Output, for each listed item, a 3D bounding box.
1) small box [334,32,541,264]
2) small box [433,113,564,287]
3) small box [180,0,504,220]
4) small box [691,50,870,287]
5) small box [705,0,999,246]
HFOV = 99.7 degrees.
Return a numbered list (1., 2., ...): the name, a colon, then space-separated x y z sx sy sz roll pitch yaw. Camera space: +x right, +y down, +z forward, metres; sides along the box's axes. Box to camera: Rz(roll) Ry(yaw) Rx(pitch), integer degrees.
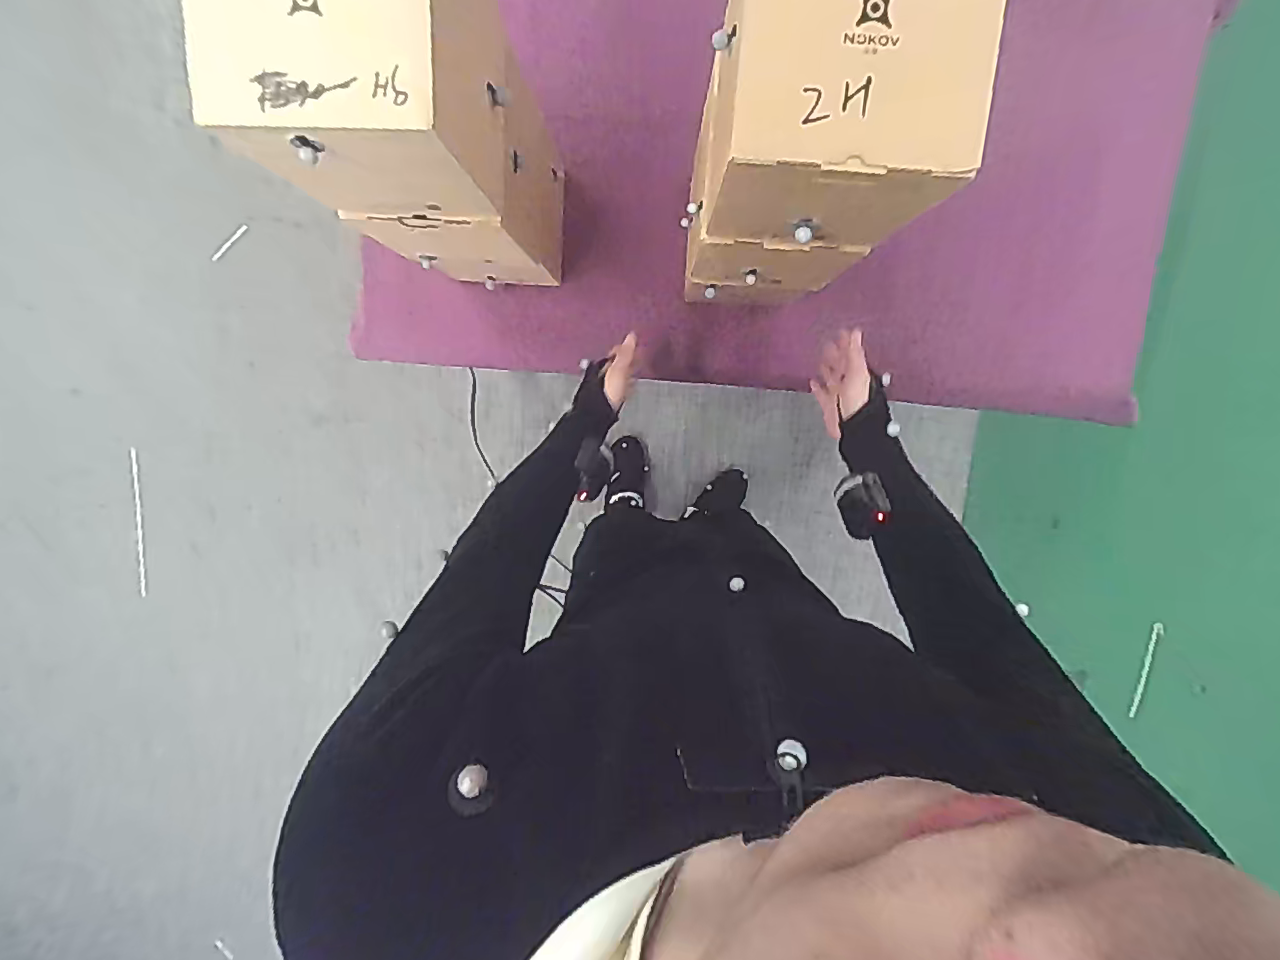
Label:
1. small box: -0.209 -0.348 0.594 0.168 0.176 0.179 3 97 2
2. small box: -0.203 -0.380 0.754 0.168 0.176 0.179 3 99 2
3. small box: -0.214 -0.331 0.430 0.168 0.176 0.179 3 97 3
4. small box: 0.146 -0.322 0.587 0.168 0.176 0.179 4 99 1
5. small box: 0.145 -0.304 0.423 0.168 0.176 0.179 4 99 1
